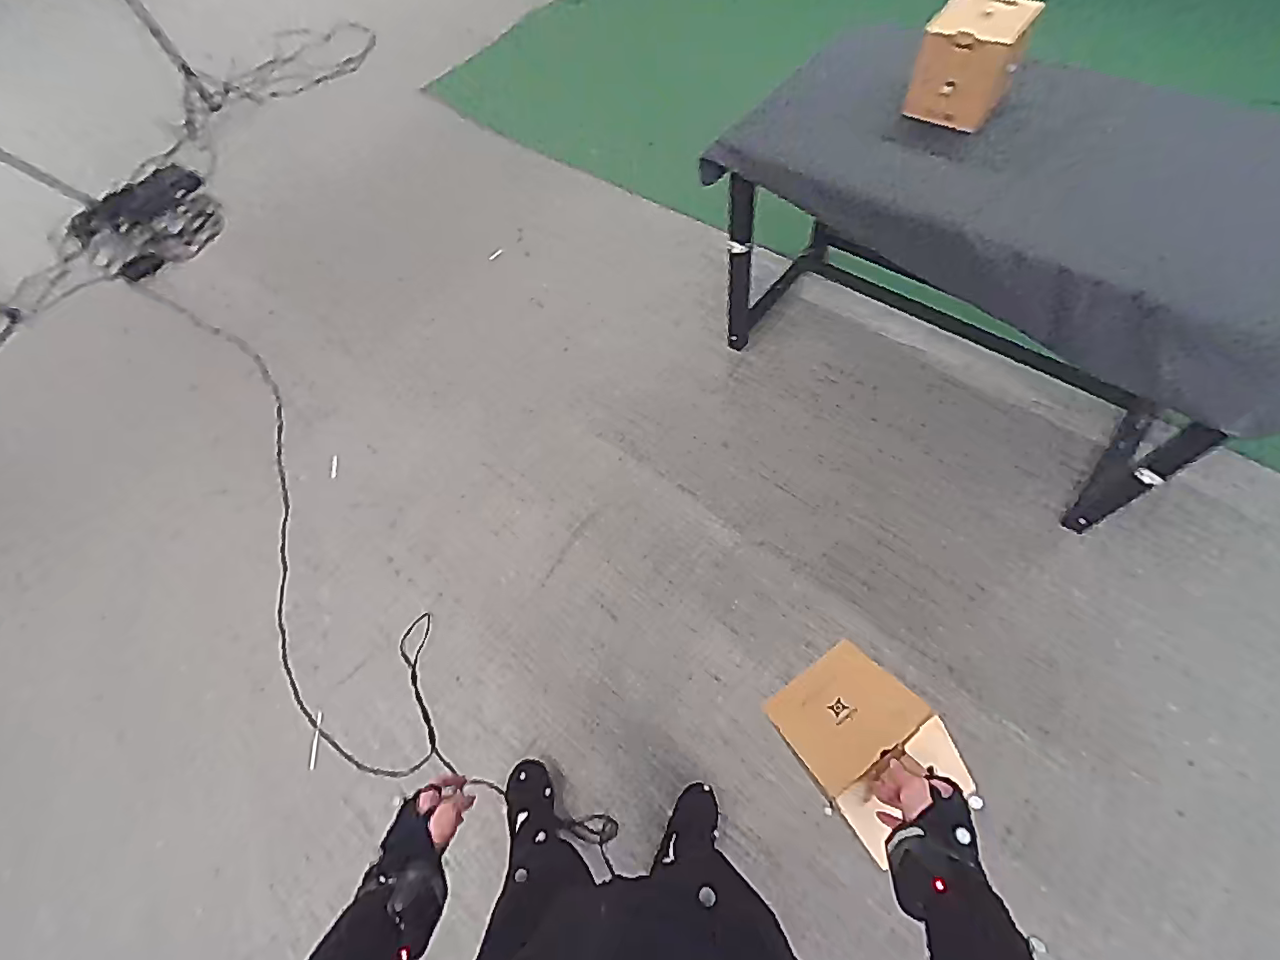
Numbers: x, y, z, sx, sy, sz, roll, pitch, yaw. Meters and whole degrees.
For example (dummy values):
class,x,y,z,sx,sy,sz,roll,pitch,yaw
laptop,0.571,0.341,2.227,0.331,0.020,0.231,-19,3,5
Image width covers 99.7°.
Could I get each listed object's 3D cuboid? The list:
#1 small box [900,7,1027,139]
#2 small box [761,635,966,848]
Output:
class,x,y,z,sx,sy,sz,roll,pitch,yaw
small box,0.693,-0.883,1.179,0.168,0.176,0.179,29,70,22
small box,0.303,0.358,0.740,0.168,0.176,0.179,-34,23,-4
